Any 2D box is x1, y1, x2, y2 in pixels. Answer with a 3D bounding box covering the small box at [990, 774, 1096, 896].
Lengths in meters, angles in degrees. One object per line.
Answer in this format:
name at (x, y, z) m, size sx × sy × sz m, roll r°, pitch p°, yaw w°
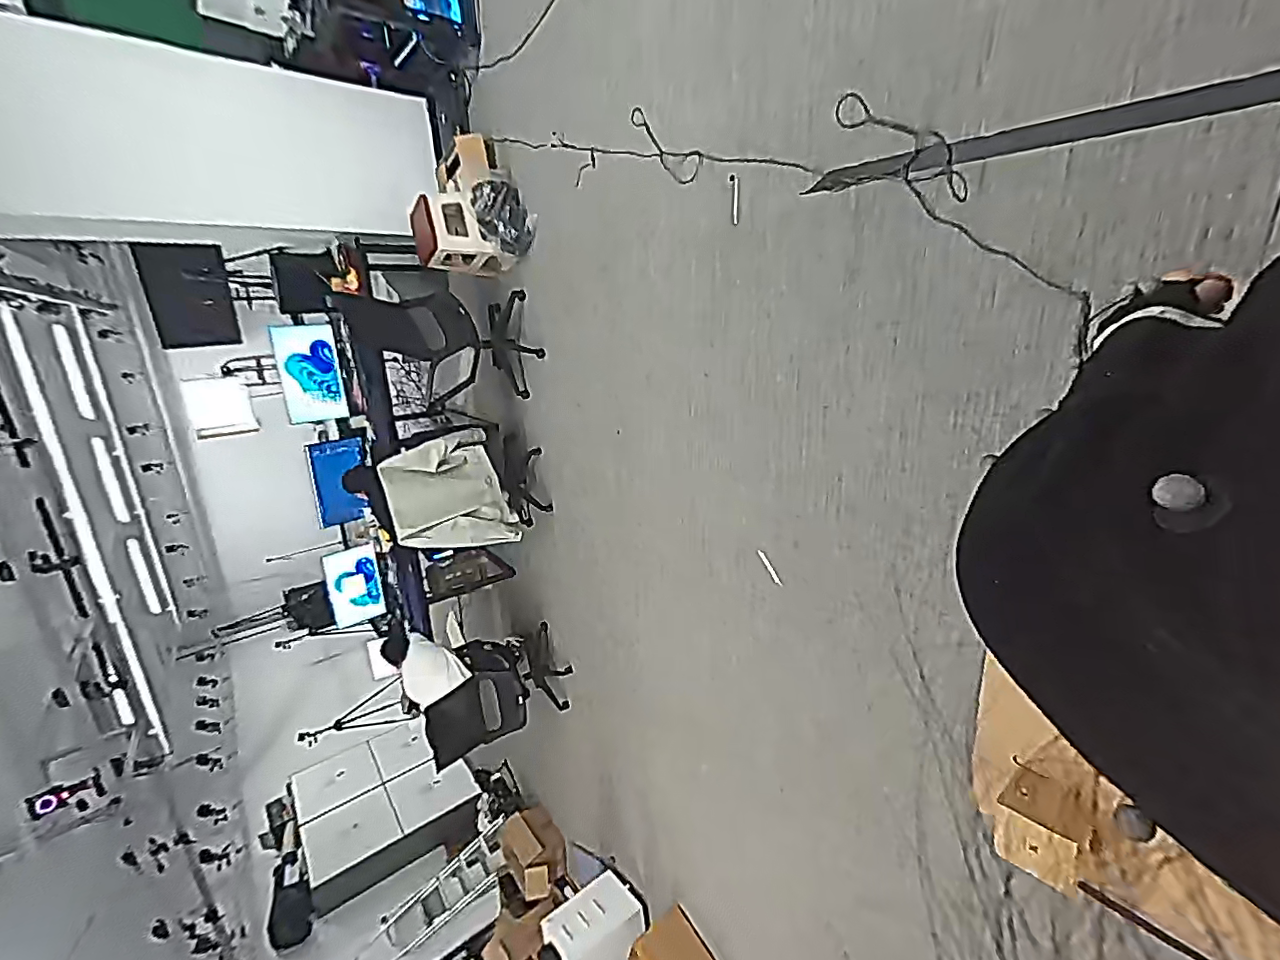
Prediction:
small box at (1.040, 0.901, 1.398) m, size 0.179 × 0.176 × 0.168 m, roll 10°, pitch 112°, yaw 51°
